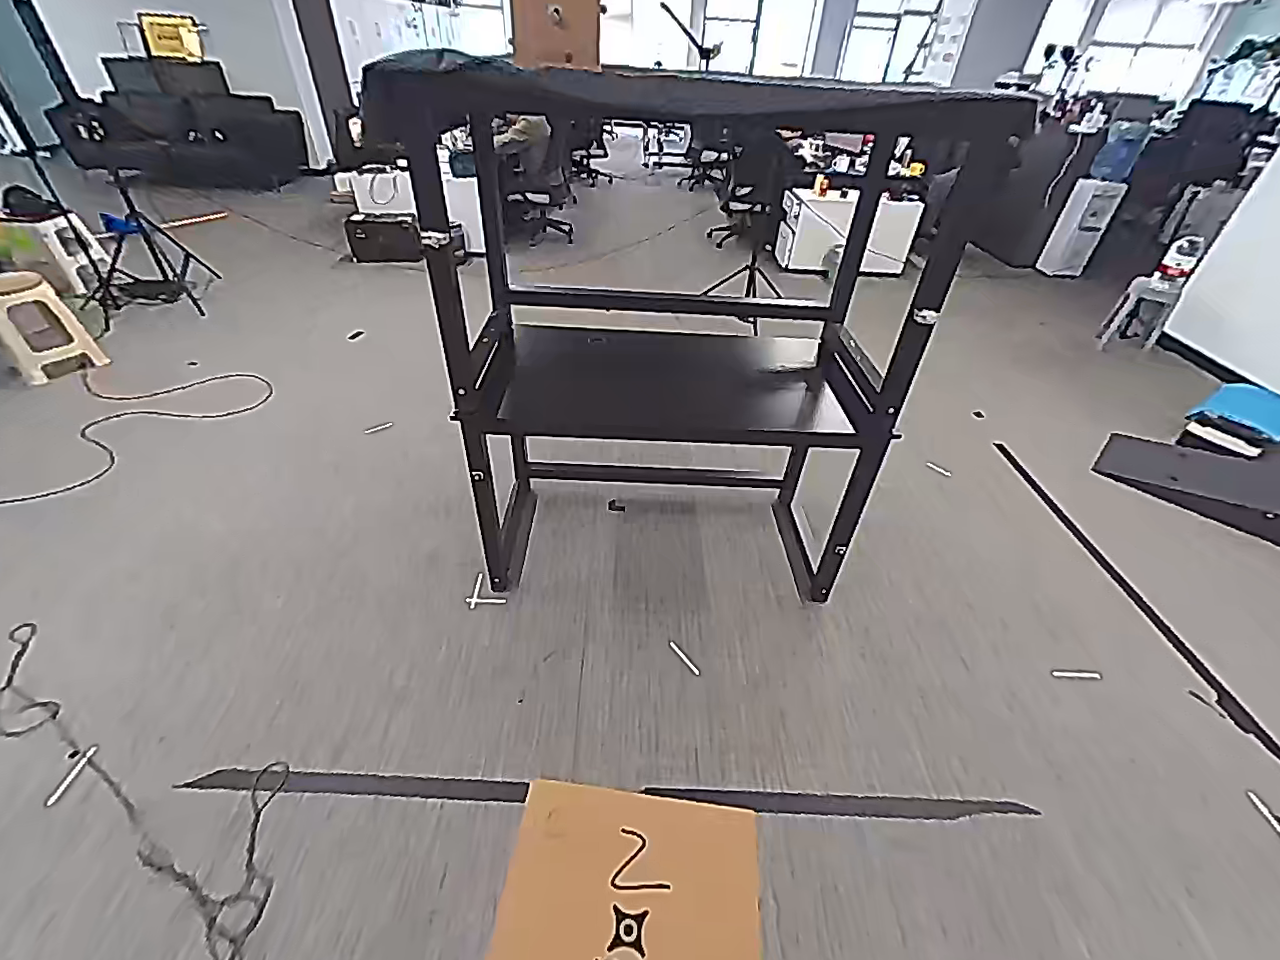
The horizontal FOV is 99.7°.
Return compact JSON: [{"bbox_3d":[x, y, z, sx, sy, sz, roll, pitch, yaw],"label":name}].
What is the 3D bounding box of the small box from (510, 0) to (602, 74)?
[{"bbox_3d":[-0.156,-0.890,1.038,0.168,0.176,0.179,0,38,-5],"label":"small box"}]
